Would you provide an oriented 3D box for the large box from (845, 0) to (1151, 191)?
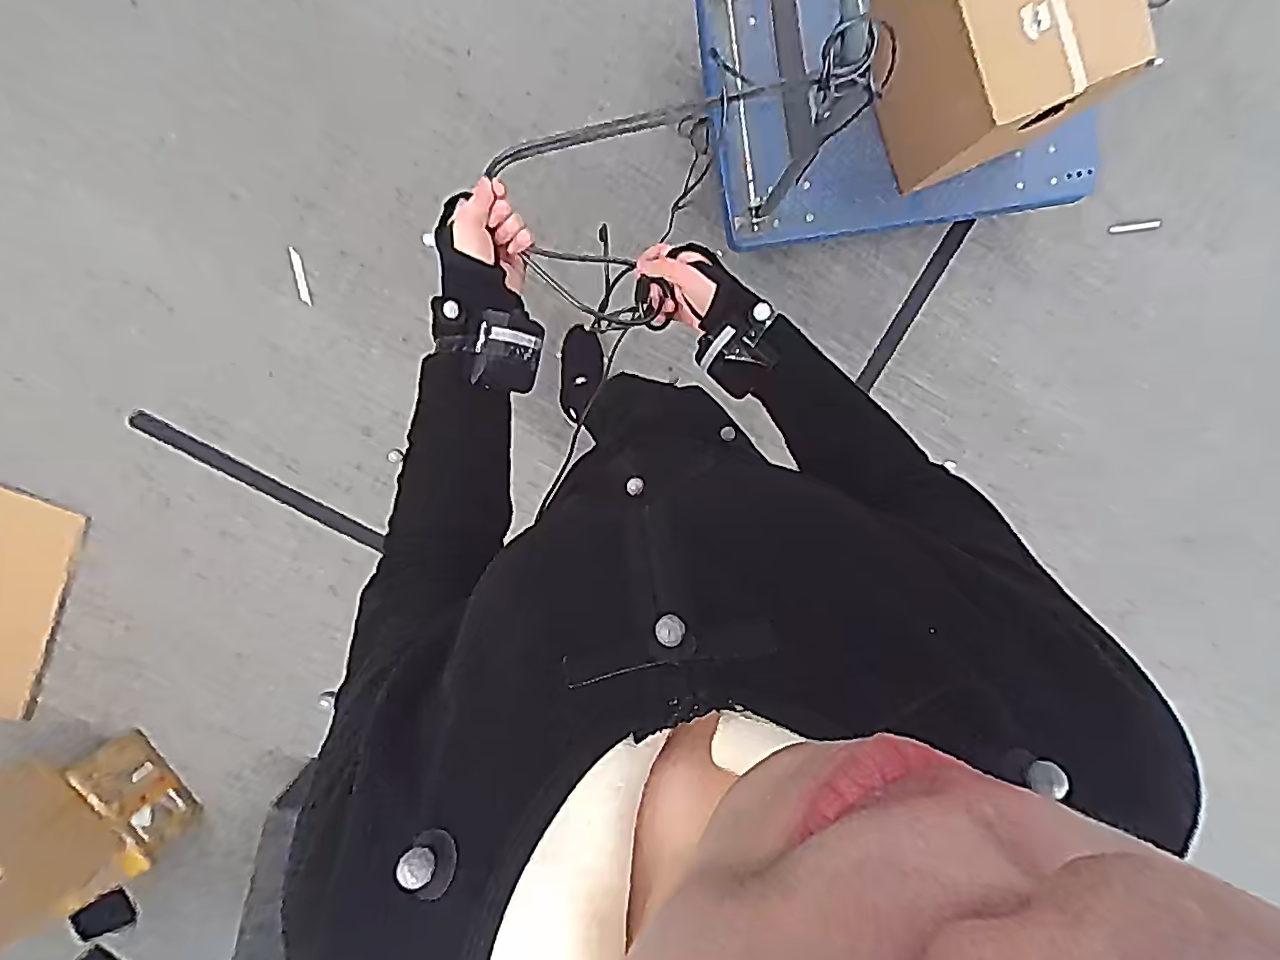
[{"bbox_3d":[0.667,-0.875,1.061,0.320,0.320,0.408,-23,99,1],"label":"large box"}]
